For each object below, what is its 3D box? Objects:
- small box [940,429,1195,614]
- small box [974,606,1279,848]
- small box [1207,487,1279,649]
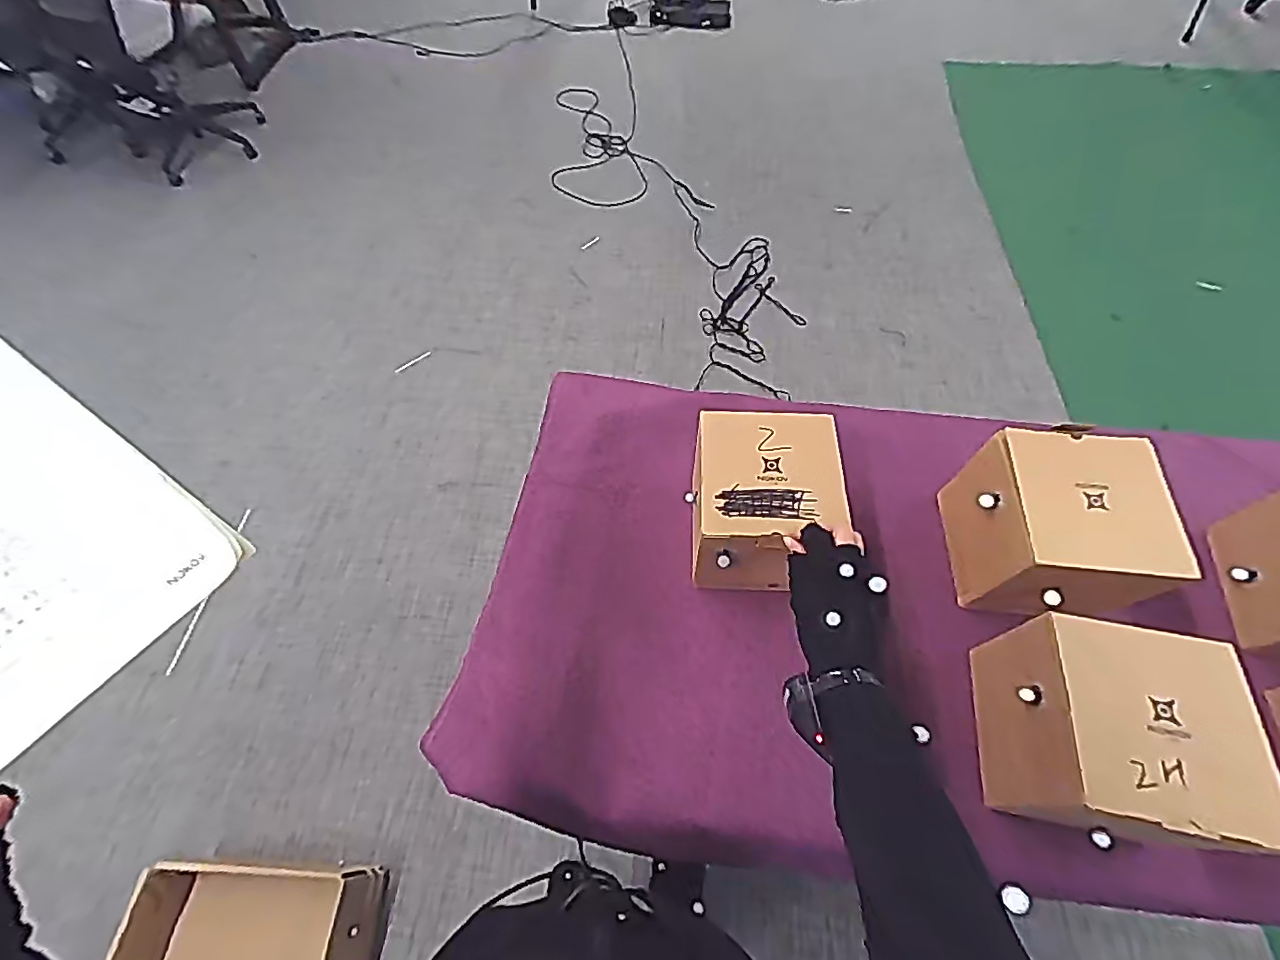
[{"bbox_3d":[0.504,0.060,0.673,0.168,0.176,0.179,5,59,4],"label":"small box"},{"bbox_3d":[0.472,0.253,0.556,0.168,0.176,0.179,9,60,8],"label":"small box"},{"bbox_3d":[0.838,0.109,0.630,0.168,0.176,0.179,11,61,8],"label":"small box"}]
